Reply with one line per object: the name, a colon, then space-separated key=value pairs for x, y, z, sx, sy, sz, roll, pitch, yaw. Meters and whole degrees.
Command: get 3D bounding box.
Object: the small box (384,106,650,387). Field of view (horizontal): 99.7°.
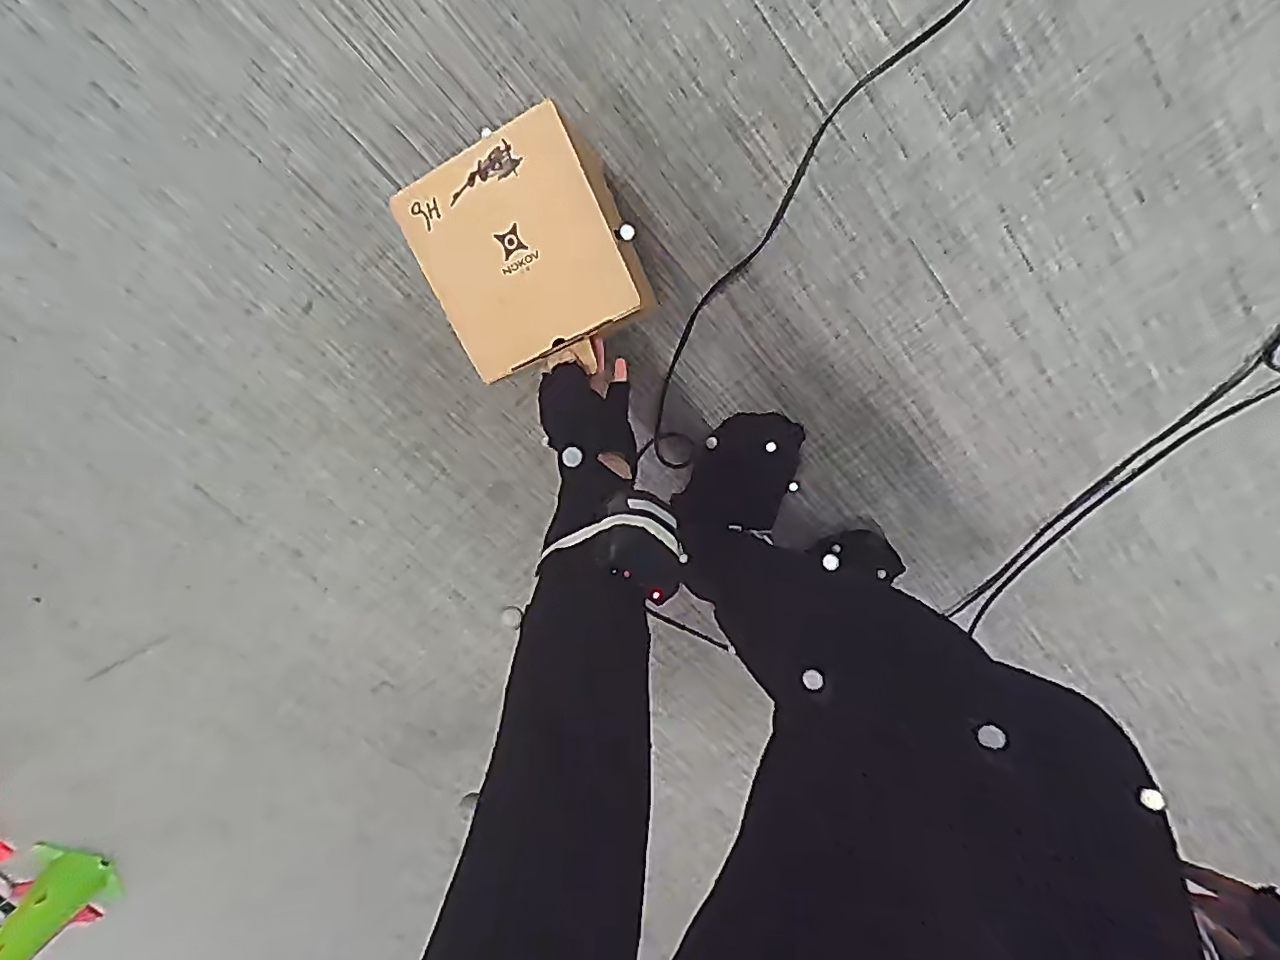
small box: x=-0.099 y=-0.213 z=0.531 sx=0.168 sy=0.176 sz=0.179 roll=-22 pitch=105 yaw=12
